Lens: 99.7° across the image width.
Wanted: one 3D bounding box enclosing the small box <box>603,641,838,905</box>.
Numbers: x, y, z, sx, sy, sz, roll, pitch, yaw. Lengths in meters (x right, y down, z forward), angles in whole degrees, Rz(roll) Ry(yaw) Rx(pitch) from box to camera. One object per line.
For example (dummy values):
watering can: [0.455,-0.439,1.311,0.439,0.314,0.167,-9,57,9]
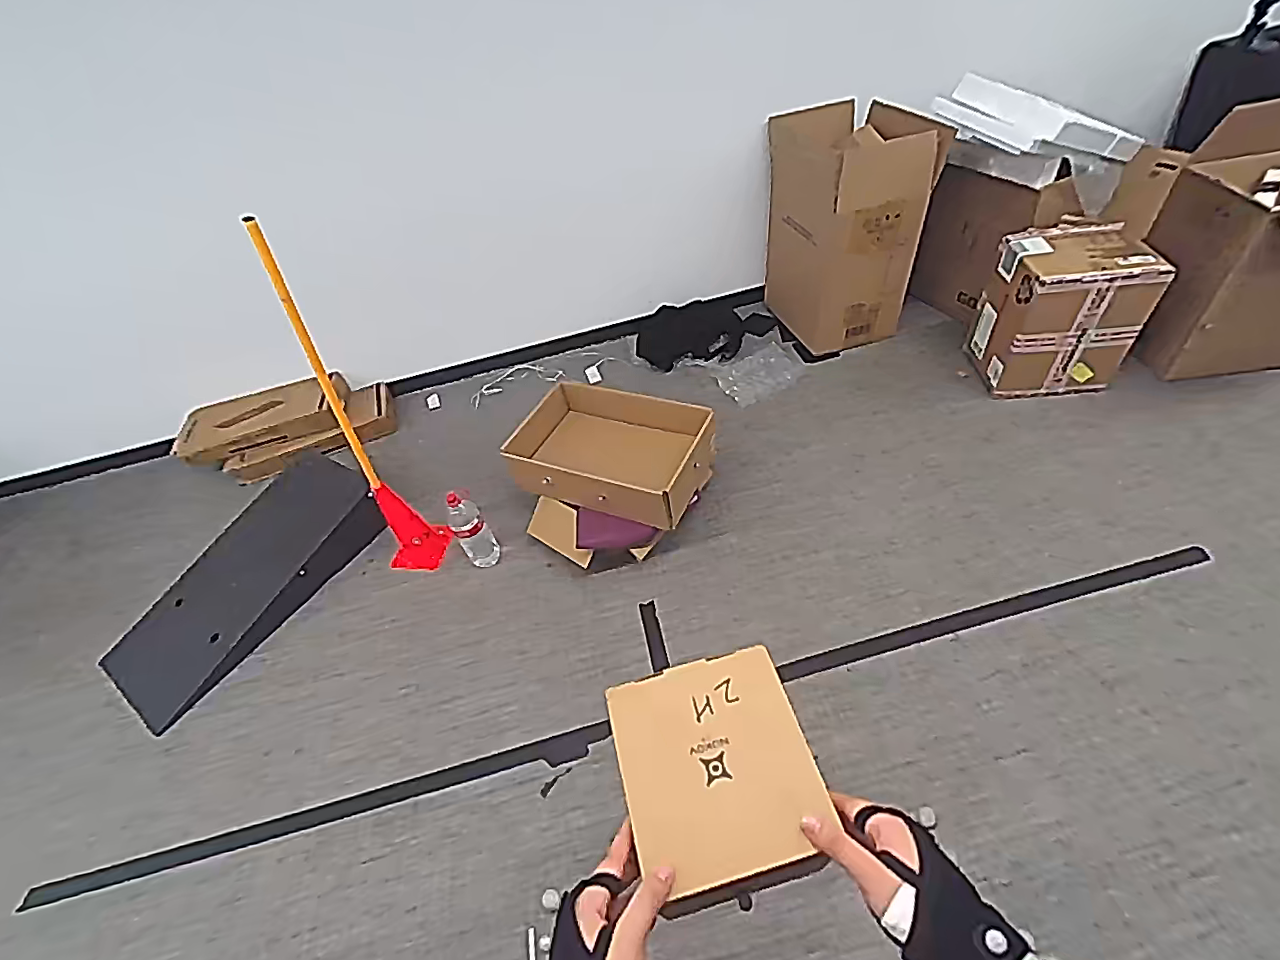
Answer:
small box: [0.072,0.294,0.536,0.168,0.176,0.179,-15,47,-4]
